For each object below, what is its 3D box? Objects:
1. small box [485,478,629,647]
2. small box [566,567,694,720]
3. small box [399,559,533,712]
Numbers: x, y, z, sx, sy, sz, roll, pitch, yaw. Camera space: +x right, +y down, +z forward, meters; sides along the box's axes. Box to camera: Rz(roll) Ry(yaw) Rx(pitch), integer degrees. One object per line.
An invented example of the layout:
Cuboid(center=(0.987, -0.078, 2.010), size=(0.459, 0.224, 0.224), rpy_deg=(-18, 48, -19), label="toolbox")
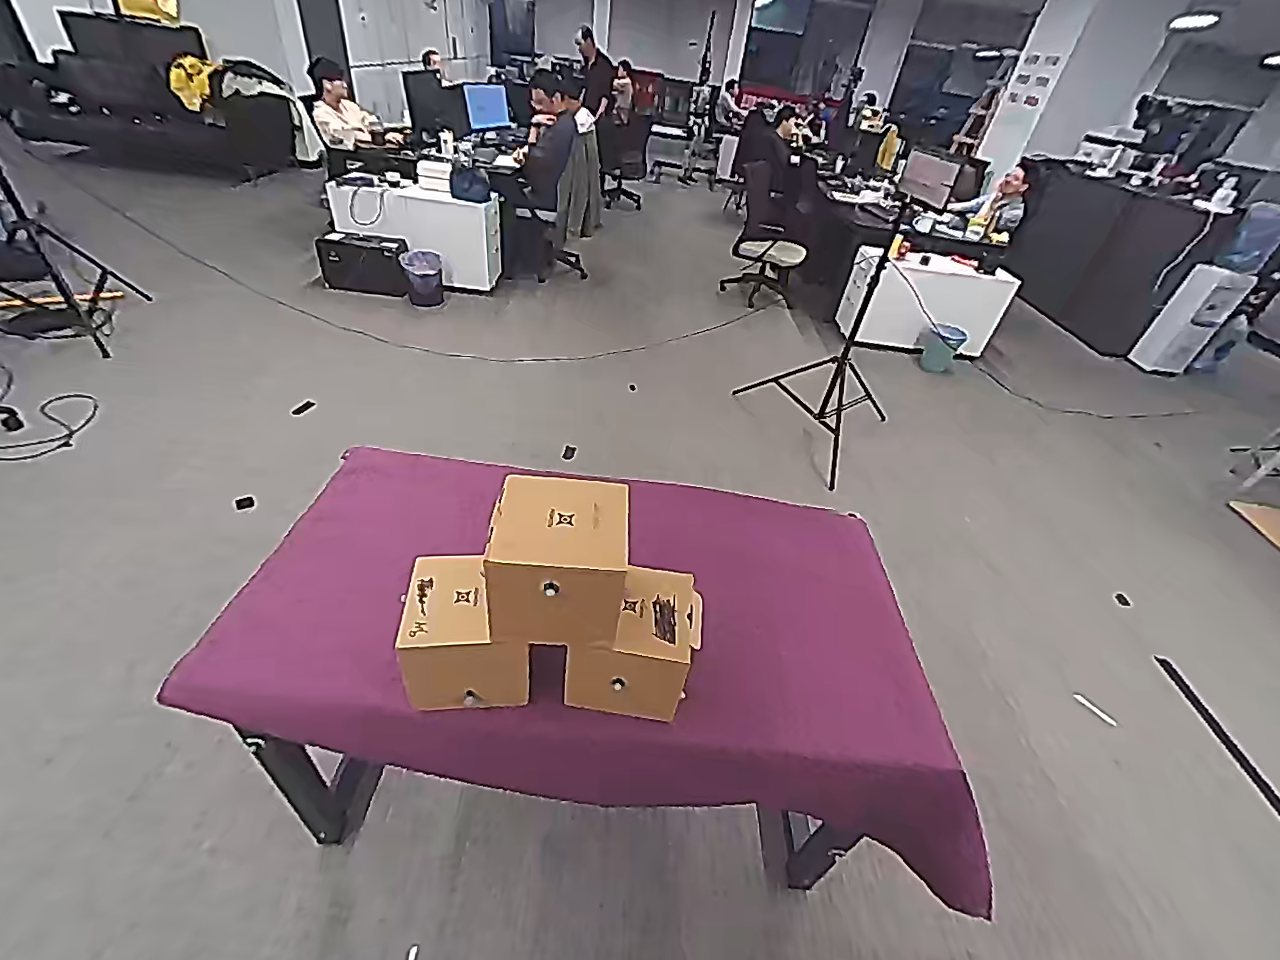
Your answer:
Cuboid(center=(-0.111, 0.117, 0.763), size=(0.179, 0.176, 0.168), rpy_deg=(5, 39, -6), label="small box")
Cuboid(center=(-0.016, 0.260, 0.865), size=(0.179, 0.176, 0.168), rpy_deg=(9, 37, 1), label="small box")
Cuboid(center=(-0.258, 0.241, 0.842), size=(0.179, 0.176, 0.168), rpy_deg=(2, 38, -11), label="small box")
